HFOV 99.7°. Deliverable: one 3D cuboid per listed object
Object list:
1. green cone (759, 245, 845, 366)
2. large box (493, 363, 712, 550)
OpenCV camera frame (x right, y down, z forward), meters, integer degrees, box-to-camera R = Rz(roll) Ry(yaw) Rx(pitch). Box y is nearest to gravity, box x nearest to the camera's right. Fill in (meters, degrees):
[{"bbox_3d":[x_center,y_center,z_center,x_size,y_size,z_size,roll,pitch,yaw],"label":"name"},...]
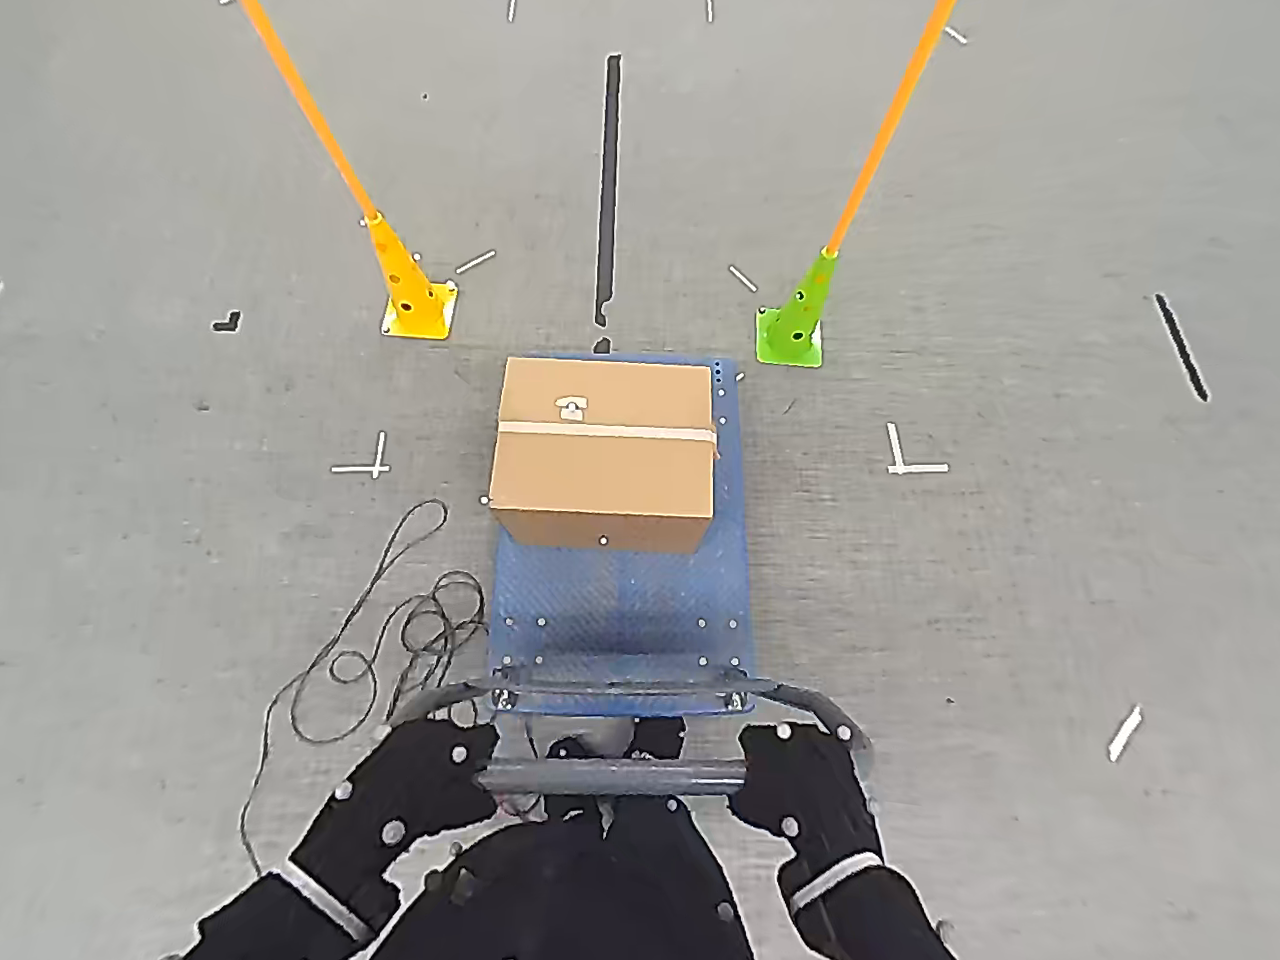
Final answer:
[{"bbox_3d":[0.475,-0.504,1.511,0.202,0.368,0.200,5,70,-2],"label":"green cone"},{"bbox_3d":[-0.064,-0.033,1.163,0.408,0.320,0.320,3,70,0],"label":"large box"}]
